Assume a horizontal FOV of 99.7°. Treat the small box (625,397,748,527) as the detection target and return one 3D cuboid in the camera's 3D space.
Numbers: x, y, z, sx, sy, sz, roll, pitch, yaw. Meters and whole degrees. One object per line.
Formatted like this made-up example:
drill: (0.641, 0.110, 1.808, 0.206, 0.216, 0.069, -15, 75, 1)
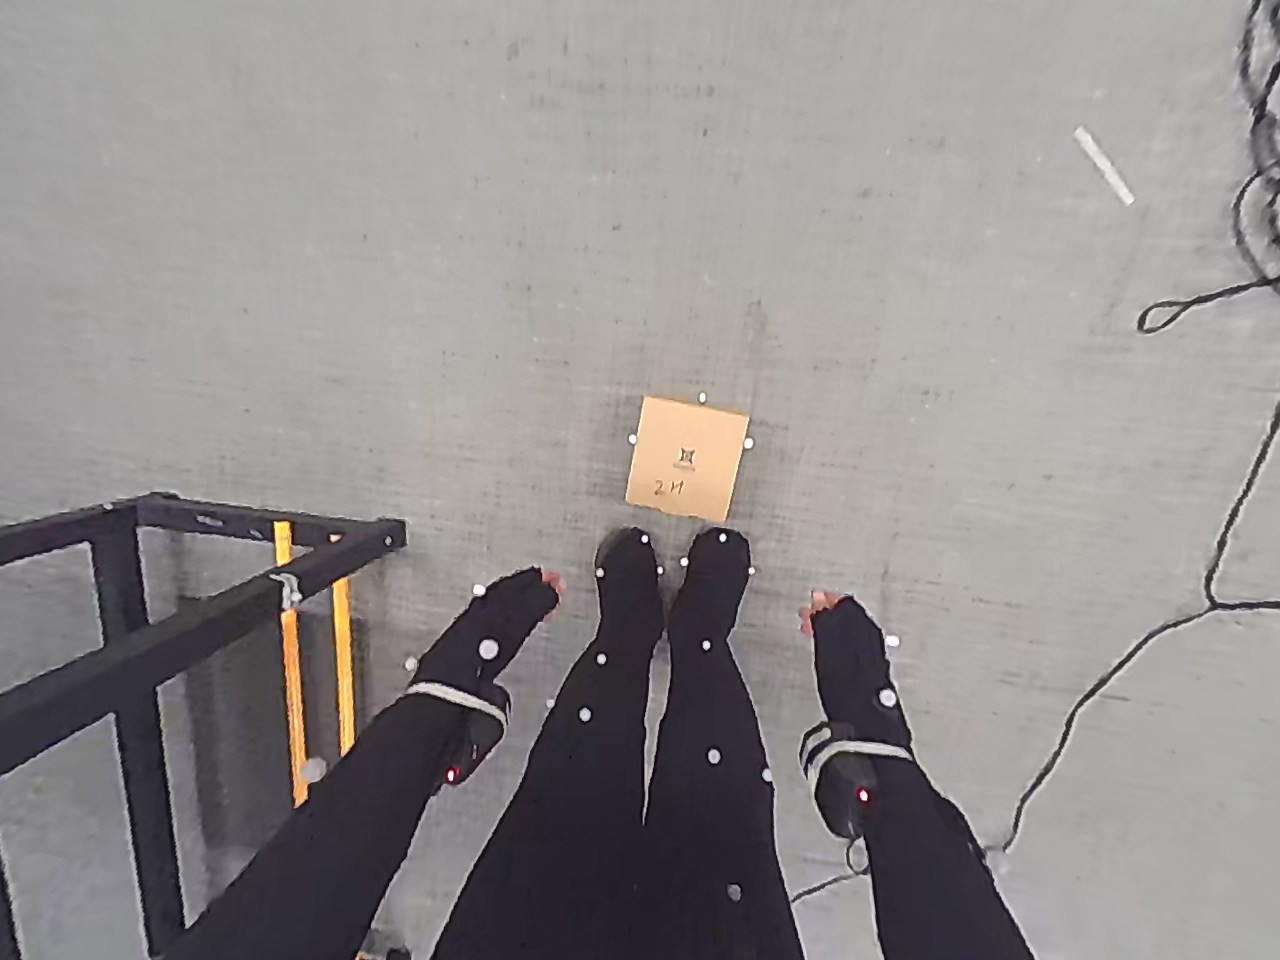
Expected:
small box: (0.080, -0.040, 0.922, 0.168, 0.176, 0.179, 12, 103, 6)
